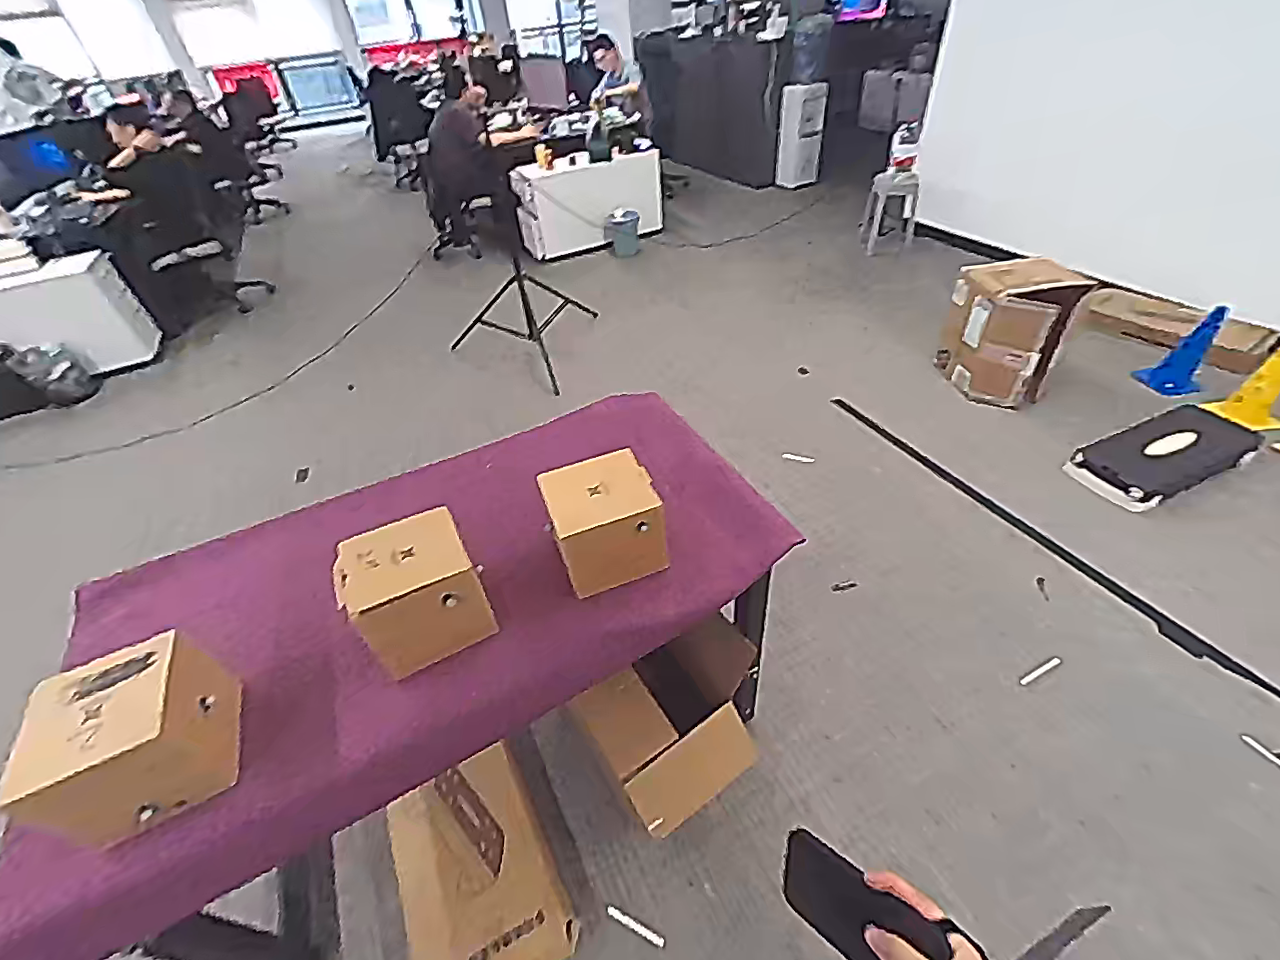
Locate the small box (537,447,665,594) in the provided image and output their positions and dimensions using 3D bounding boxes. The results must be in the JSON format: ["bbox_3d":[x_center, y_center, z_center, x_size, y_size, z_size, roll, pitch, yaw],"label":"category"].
[{"bbox_3d":[-0.066,0.074,0.962,0.179,0.176,0.168,-18,43,-13],"label":"small box"}]

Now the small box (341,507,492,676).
[{"bbox_3d":[-0.355,0.180,0.880,0.179,0.176,0.168,-24,43,-18],"label":"small box"}]
